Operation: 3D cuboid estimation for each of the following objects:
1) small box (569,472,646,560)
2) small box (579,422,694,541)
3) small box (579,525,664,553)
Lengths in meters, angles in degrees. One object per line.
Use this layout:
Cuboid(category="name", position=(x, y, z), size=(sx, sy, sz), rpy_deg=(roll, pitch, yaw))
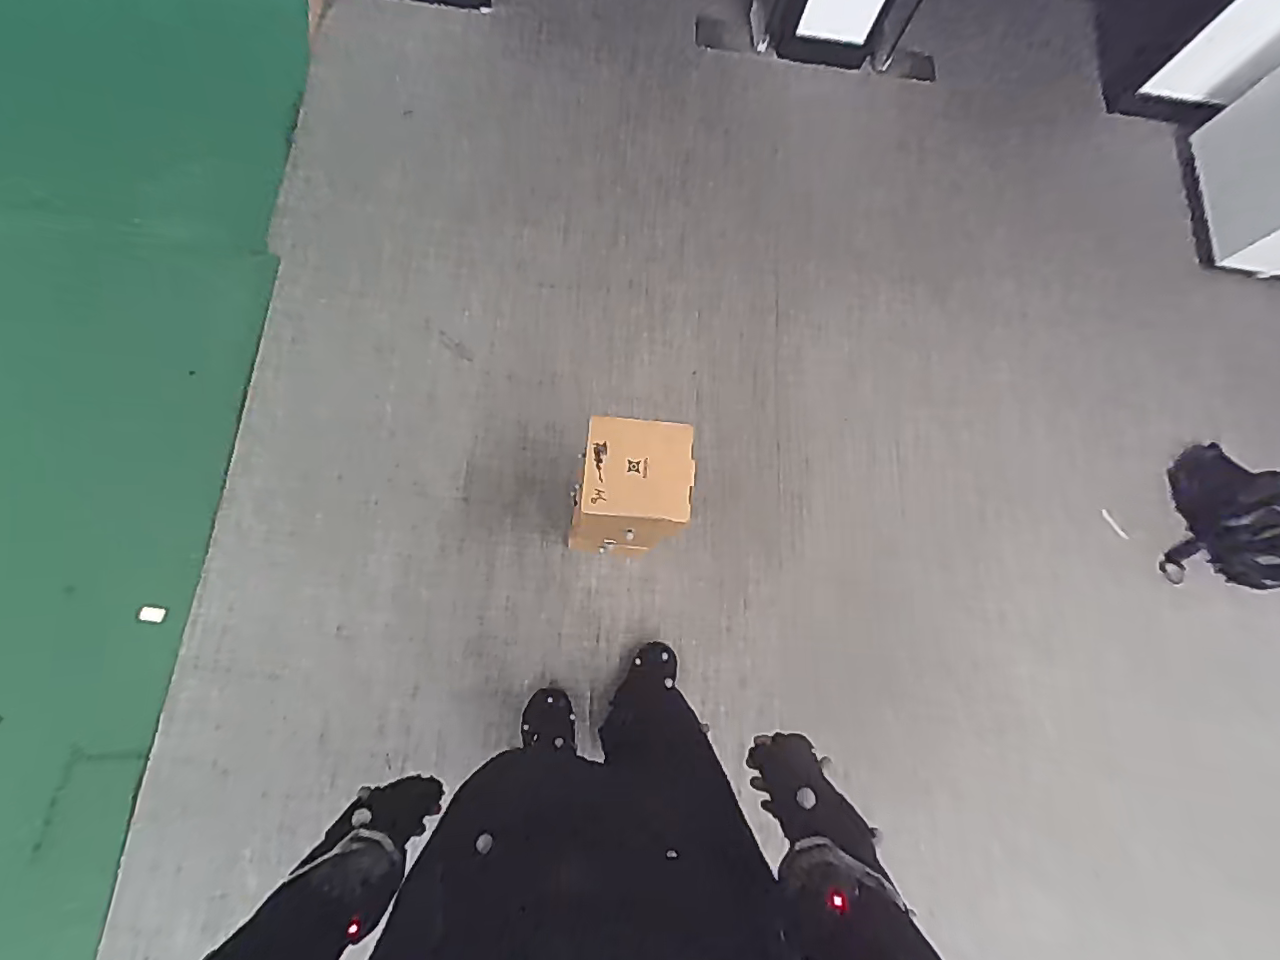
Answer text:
Cuboid(category="small box", position=(-0.068, 0.092, 1.267), size=(0.179, 0.176, 0.168), rpy_deg=(8, 75, -6))
Cuboid(category="small box", position=(-0.011, 0.011, 0.955), size=(0.179, 0.176, 0.168), rpy_deg=(6, 75, -5))
Cuboid(category="small box", position=(-0.037, 0.048, 1.114), size=(0.168, 0.176, 0.179), rpy_deg=(5, 76, -4))
